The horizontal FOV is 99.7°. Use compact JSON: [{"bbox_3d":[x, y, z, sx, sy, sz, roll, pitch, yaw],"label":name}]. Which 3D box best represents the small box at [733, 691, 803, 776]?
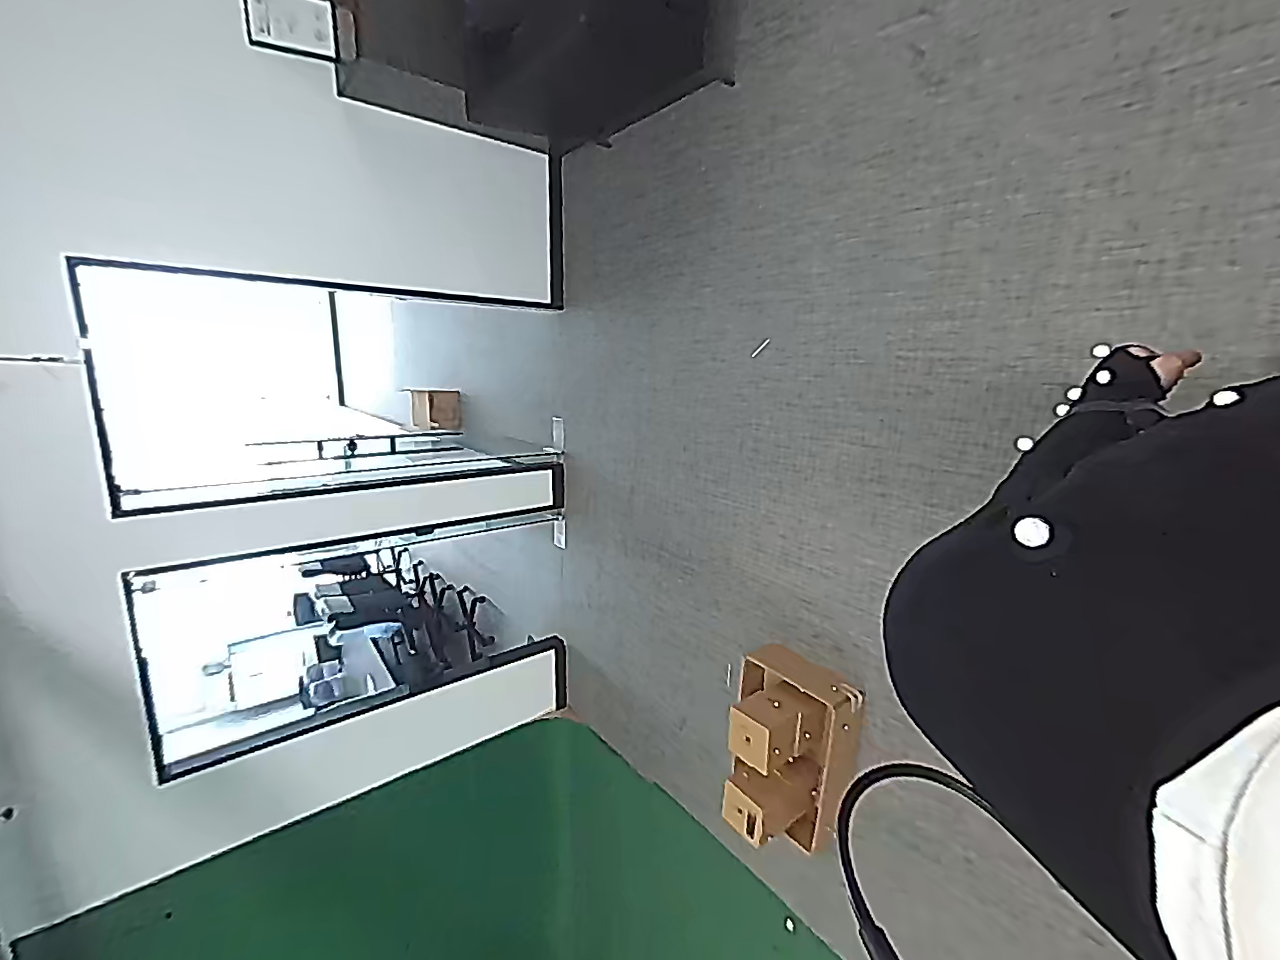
[{"bbox_3d":[0.443,0.867,1.867,0.168,0.176,0.179,15,108,49],"label":"small box"}]
